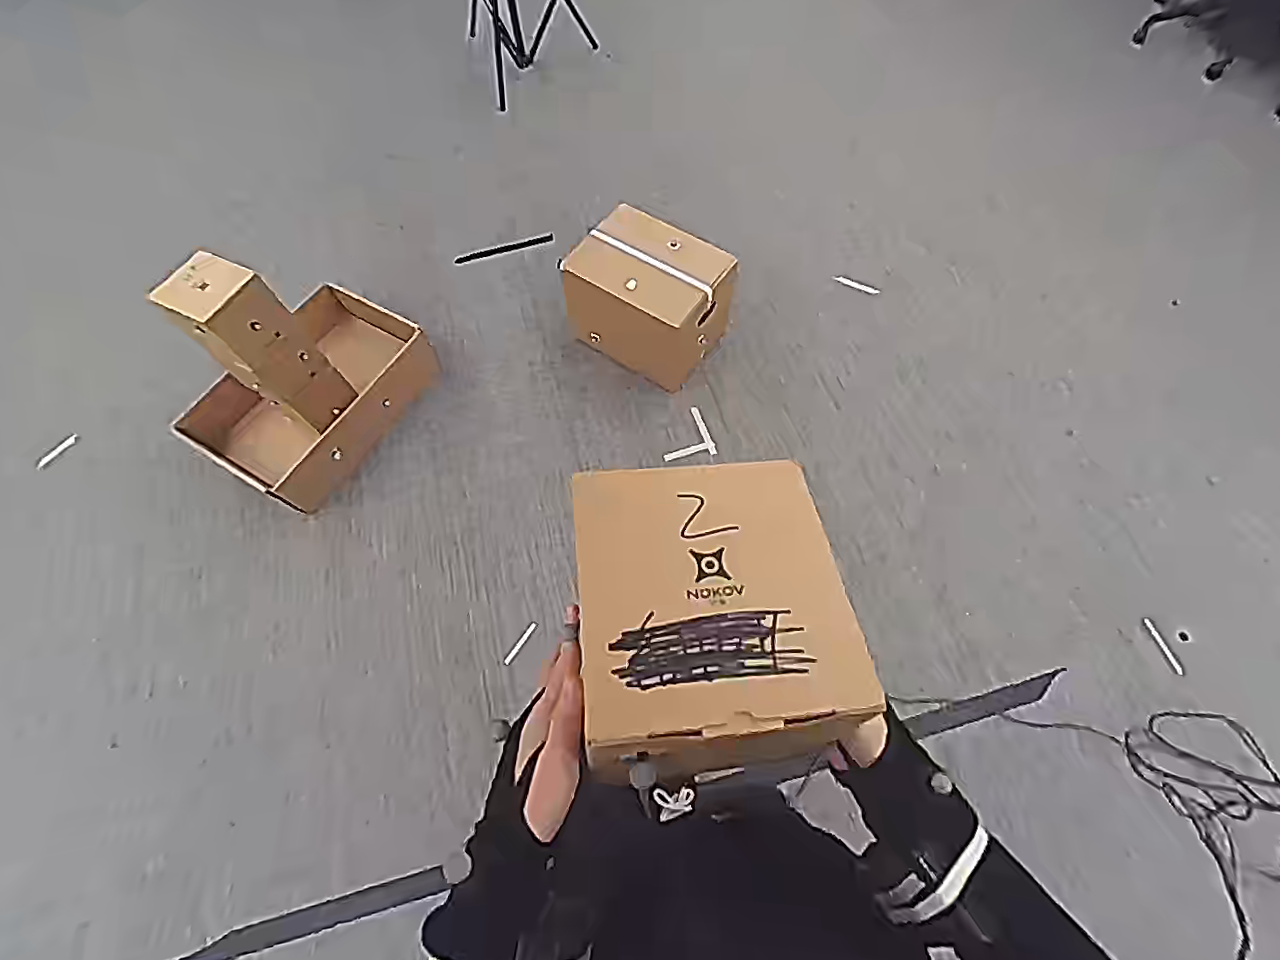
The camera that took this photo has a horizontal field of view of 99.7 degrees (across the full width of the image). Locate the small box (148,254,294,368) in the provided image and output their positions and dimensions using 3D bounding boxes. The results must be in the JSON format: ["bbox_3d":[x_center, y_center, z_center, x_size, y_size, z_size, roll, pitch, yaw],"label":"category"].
[{"bbox_3d":[-0.979,-0.393,1.284,0.179,0.176,0.168,23,66,11],"label":"small box"}]

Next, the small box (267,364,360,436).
[{"bbox_3d":[-0.970,-0.256,1.581,0.179,0.176,0.168,27,69,13],"label":"small box"}]

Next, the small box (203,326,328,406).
[{"bbox_3d":[-0.979,-0.320,1.432,0.179,0.176,0.168,23,67,13],"label":"small box"}]
